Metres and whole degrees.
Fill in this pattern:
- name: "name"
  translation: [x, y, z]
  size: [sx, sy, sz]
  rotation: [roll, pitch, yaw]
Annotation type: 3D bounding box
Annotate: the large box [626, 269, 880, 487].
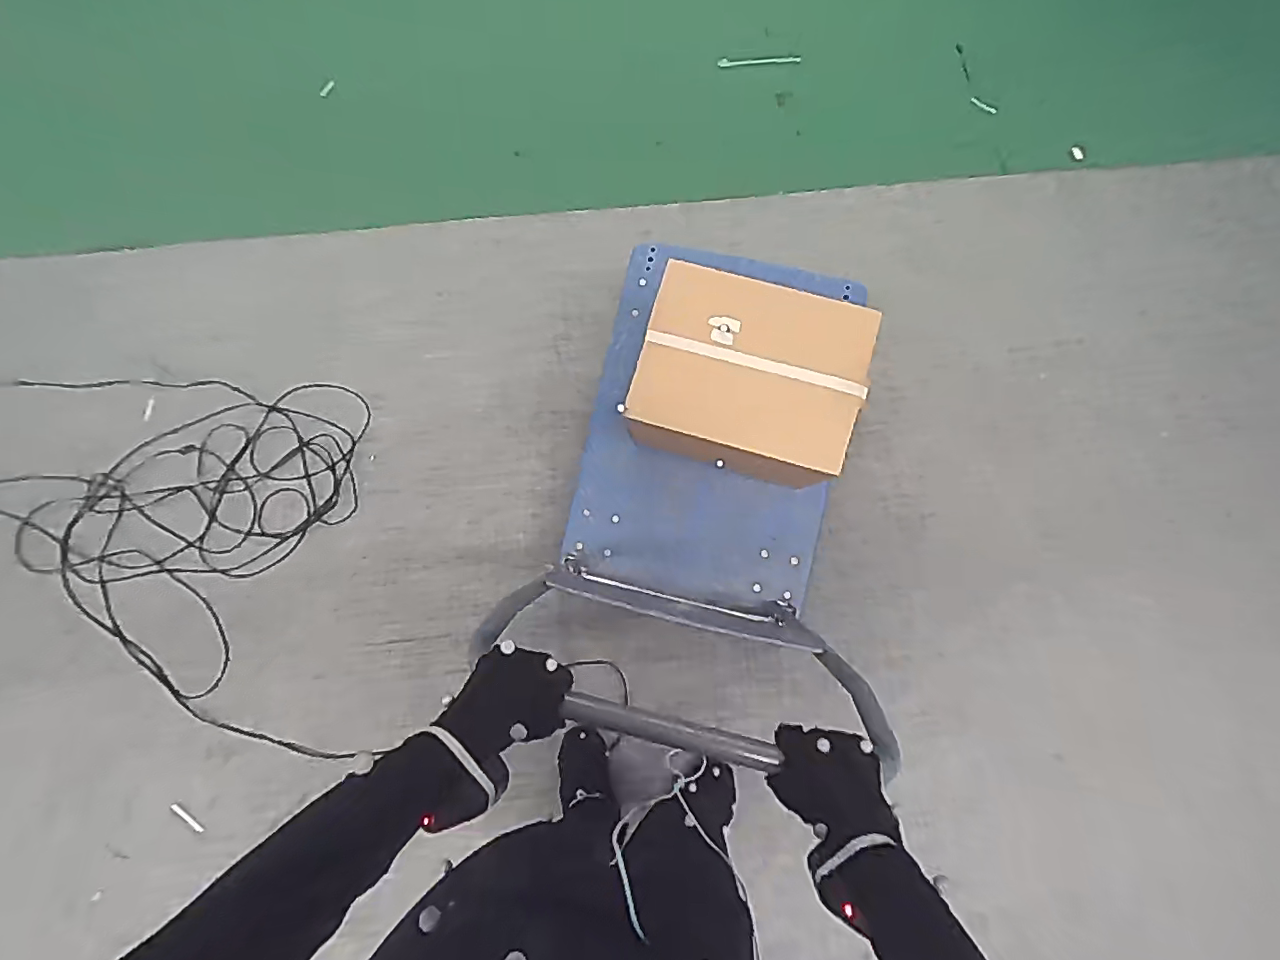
- name: "large box"
  translation: [0.218, -0.187, 1.124]
  size: [0.408, 0.320, 0.320]
  rotation: [15, 85, 6]
